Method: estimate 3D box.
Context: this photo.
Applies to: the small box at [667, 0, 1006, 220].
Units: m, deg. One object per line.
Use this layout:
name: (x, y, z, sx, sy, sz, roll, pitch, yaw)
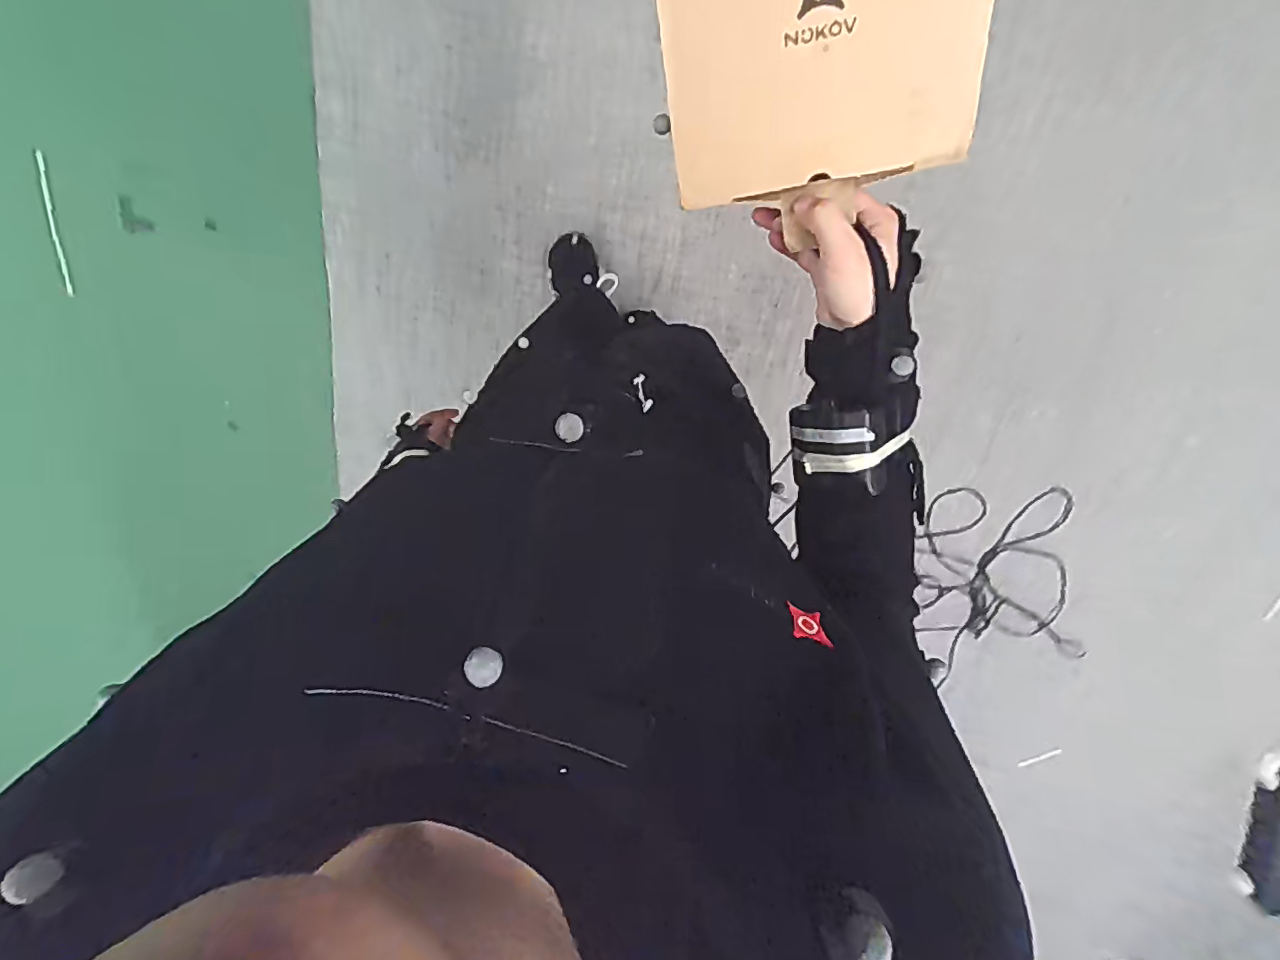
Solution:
small box: (0.104, -0.283, 0.335, 0.168, 0.176, 0.179, -6, 125, 10)
